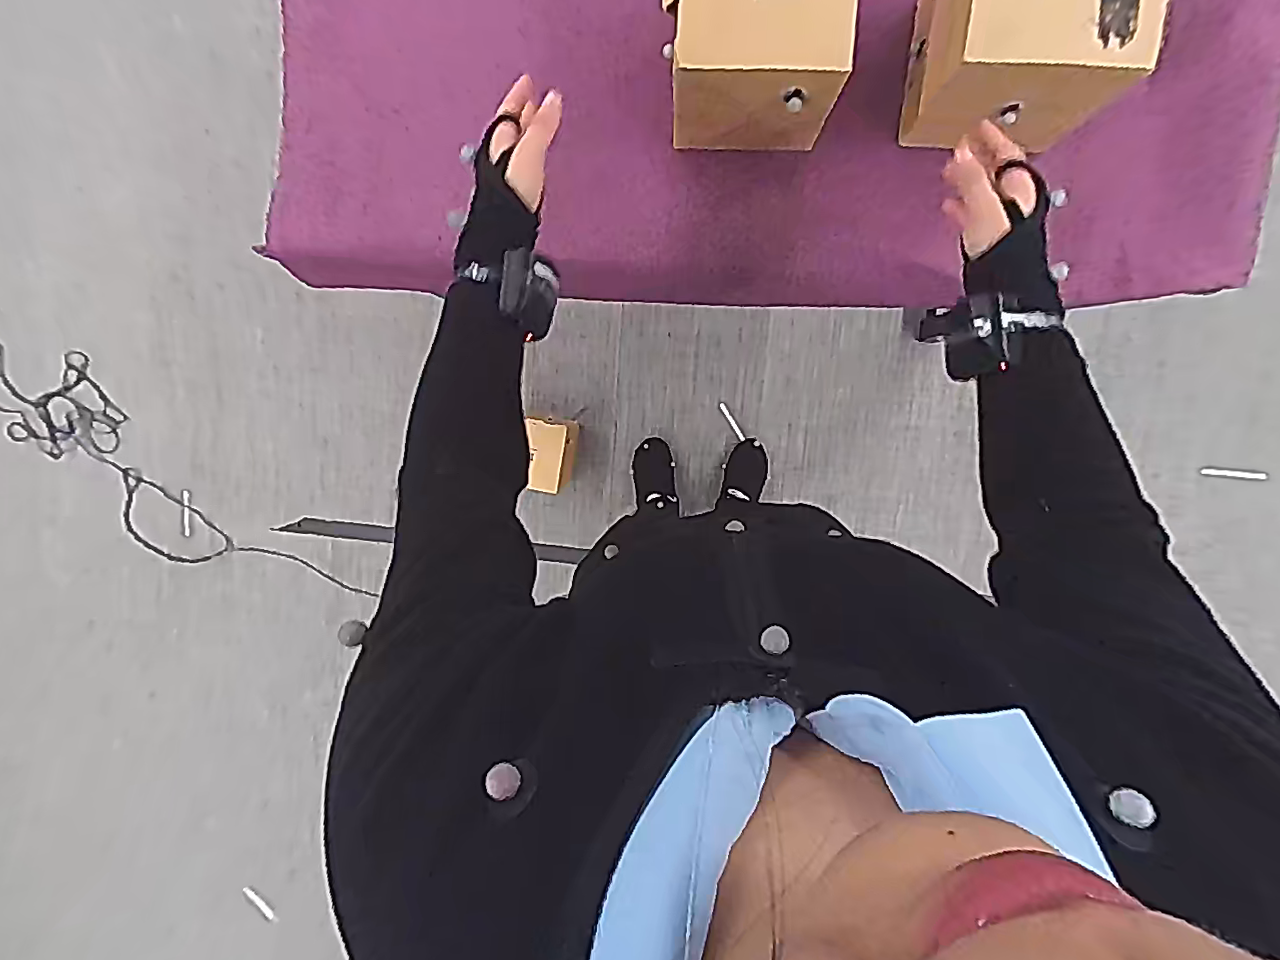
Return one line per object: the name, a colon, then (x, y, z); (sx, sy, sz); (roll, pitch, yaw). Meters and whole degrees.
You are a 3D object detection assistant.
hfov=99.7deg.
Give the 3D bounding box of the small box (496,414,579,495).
small box: (-0.263, -0.073, 1.426); (0.168, 0.176, 0.179); (10, 99, 2)
